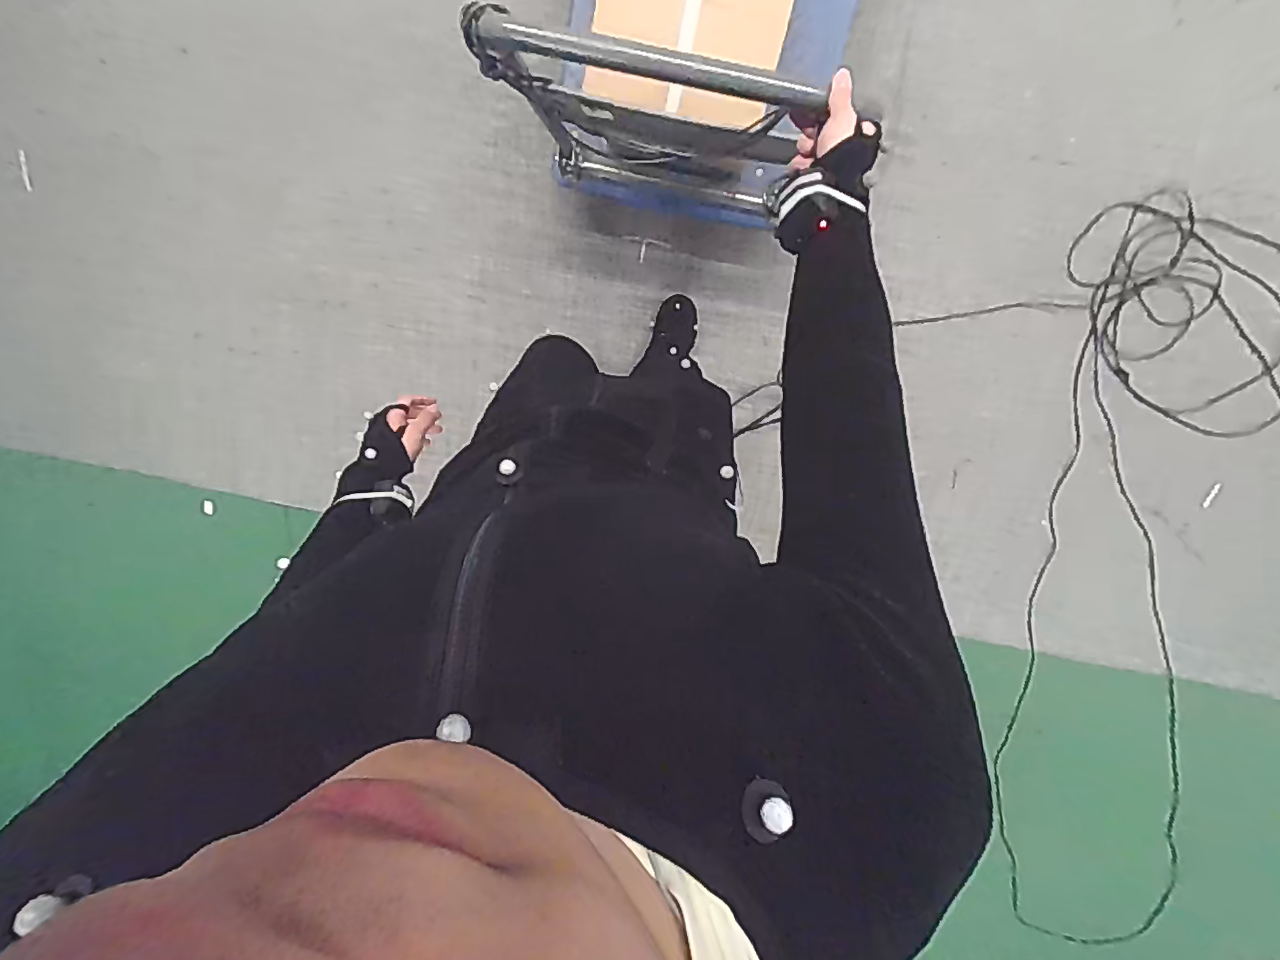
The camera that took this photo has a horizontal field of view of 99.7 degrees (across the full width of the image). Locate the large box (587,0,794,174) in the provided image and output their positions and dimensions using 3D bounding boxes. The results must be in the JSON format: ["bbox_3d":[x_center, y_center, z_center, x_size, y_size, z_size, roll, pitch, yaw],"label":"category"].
[{"bbox_3d":[0.110,-0.849,1.007,0.320,0.320,0.408,14,109,0],"label":"large box"}]
